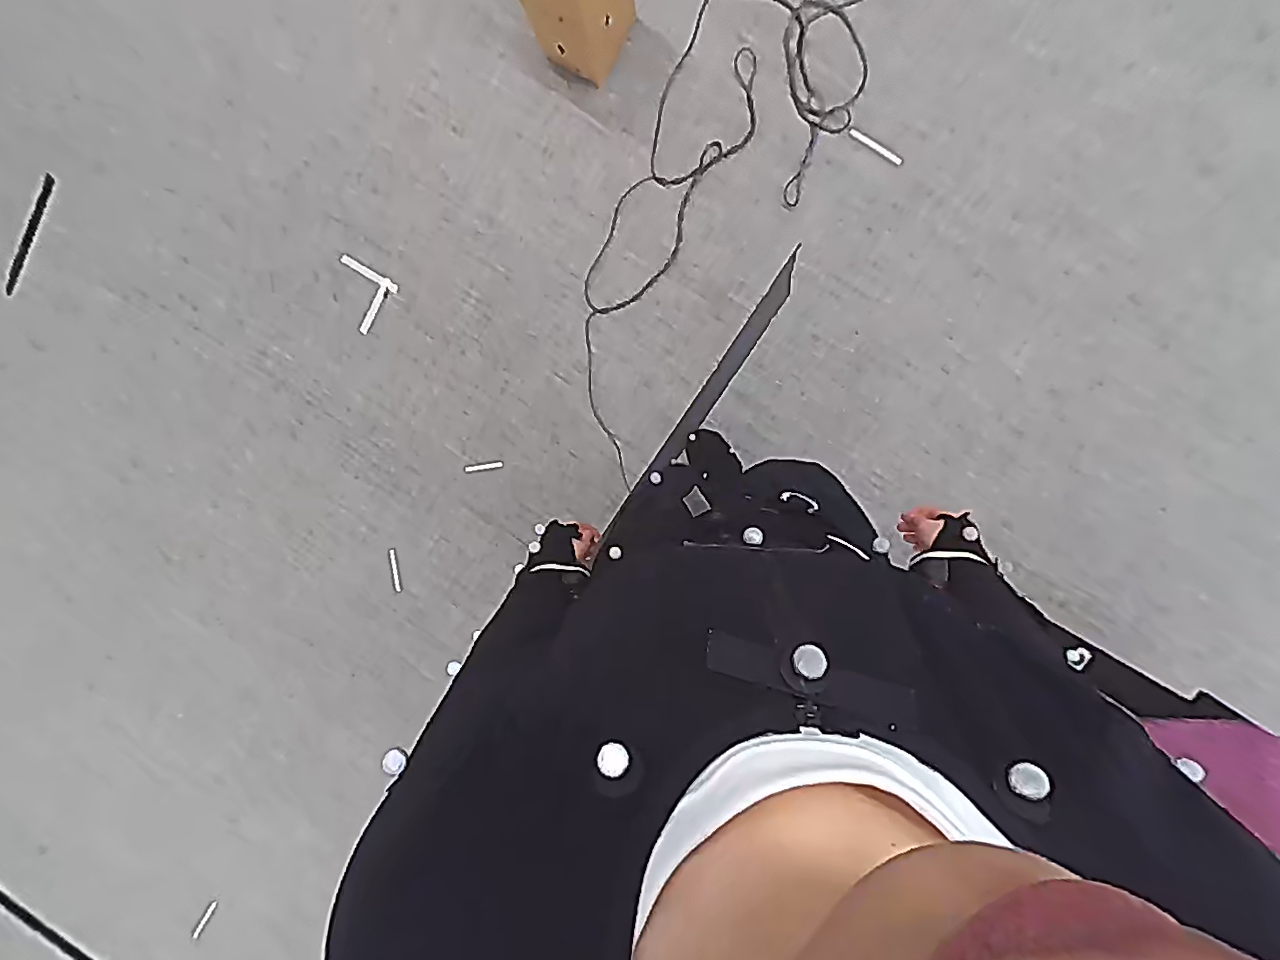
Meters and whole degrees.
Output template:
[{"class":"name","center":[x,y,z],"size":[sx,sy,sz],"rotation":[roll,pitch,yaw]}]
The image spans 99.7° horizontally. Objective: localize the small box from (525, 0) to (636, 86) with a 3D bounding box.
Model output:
[{"class":"small box","center":[-0.122,-1.041,1.210],"size":[0.168,0.176,0.179],"rotation":[32,99,3]}]
